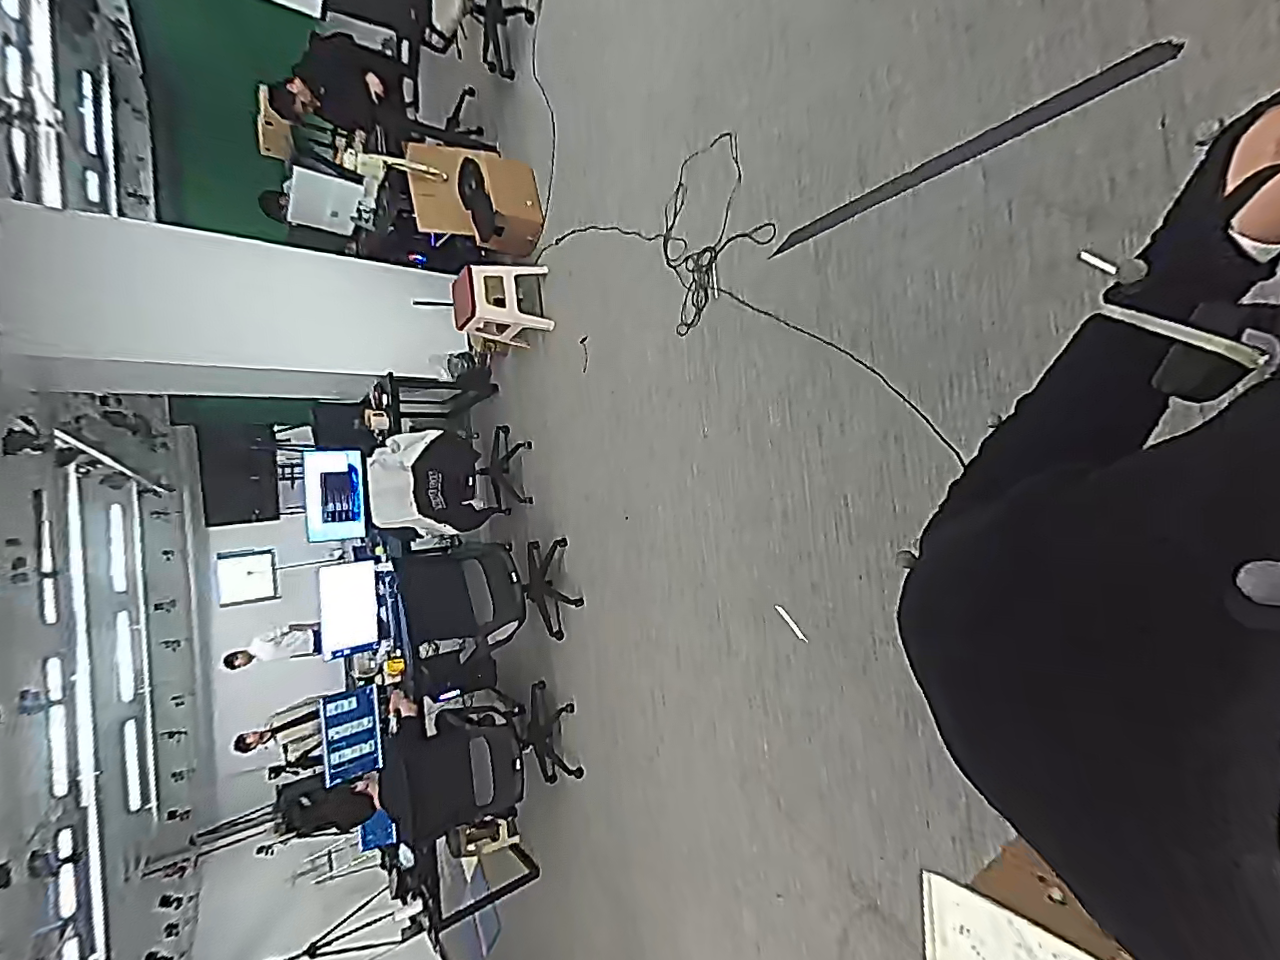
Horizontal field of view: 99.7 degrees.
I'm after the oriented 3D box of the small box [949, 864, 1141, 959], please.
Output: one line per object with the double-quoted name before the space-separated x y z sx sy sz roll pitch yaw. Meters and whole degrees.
"small box" 0.545 0.675 0.725 0.168 0.176 0.179 -4 89 56
